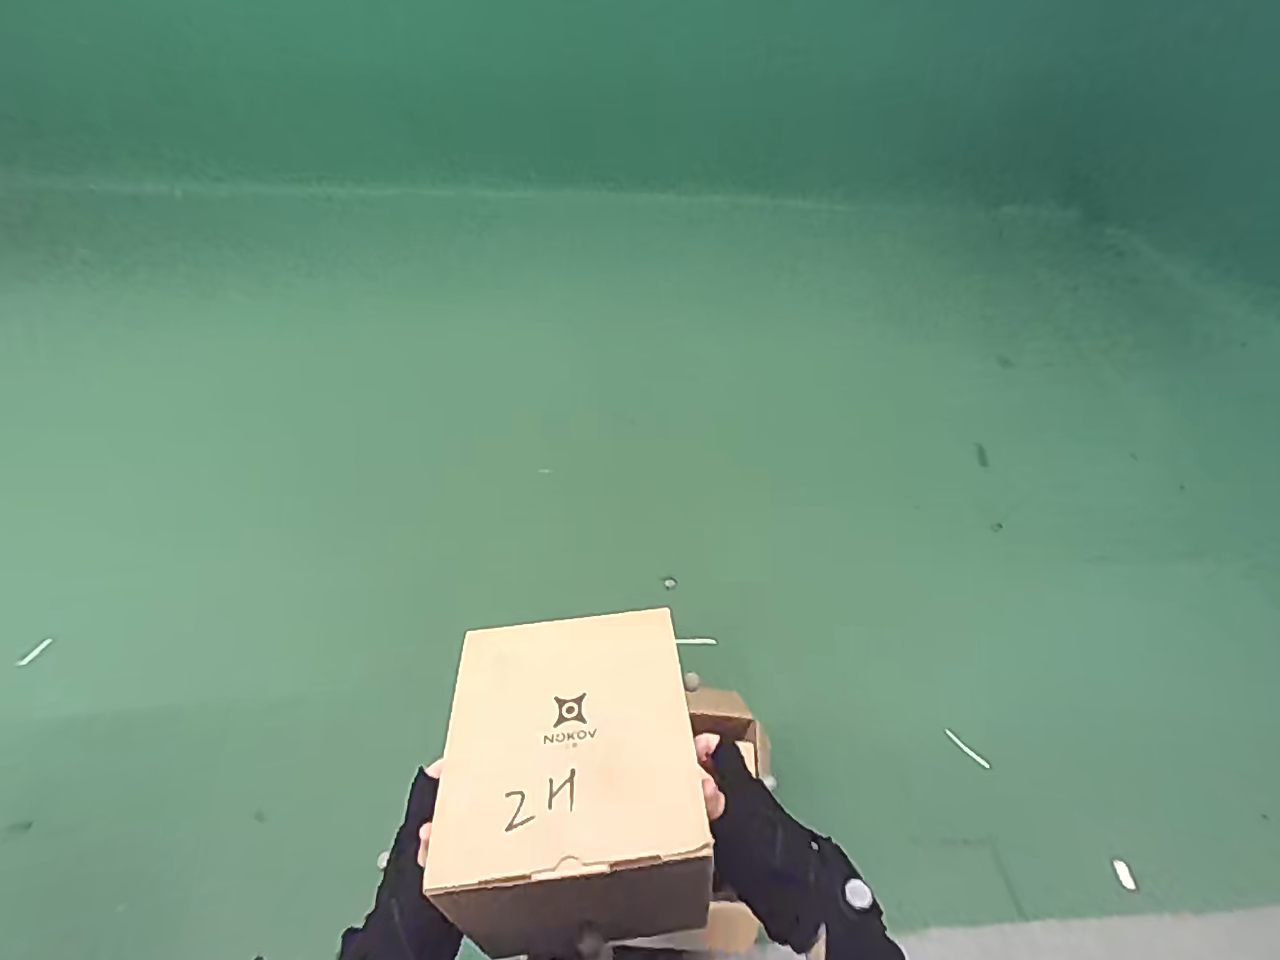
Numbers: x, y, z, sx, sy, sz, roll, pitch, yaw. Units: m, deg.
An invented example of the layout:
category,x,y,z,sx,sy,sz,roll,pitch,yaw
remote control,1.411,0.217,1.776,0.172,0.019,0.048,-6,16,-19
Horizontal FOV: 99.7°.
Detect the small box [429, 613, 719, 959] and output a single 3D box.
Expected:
category,x,y,z,sx,sy,sz,roll,pitch,yaw
small box,-0.041,0.229,0.415,0.168,0.176,0.179,-6,39,-3
